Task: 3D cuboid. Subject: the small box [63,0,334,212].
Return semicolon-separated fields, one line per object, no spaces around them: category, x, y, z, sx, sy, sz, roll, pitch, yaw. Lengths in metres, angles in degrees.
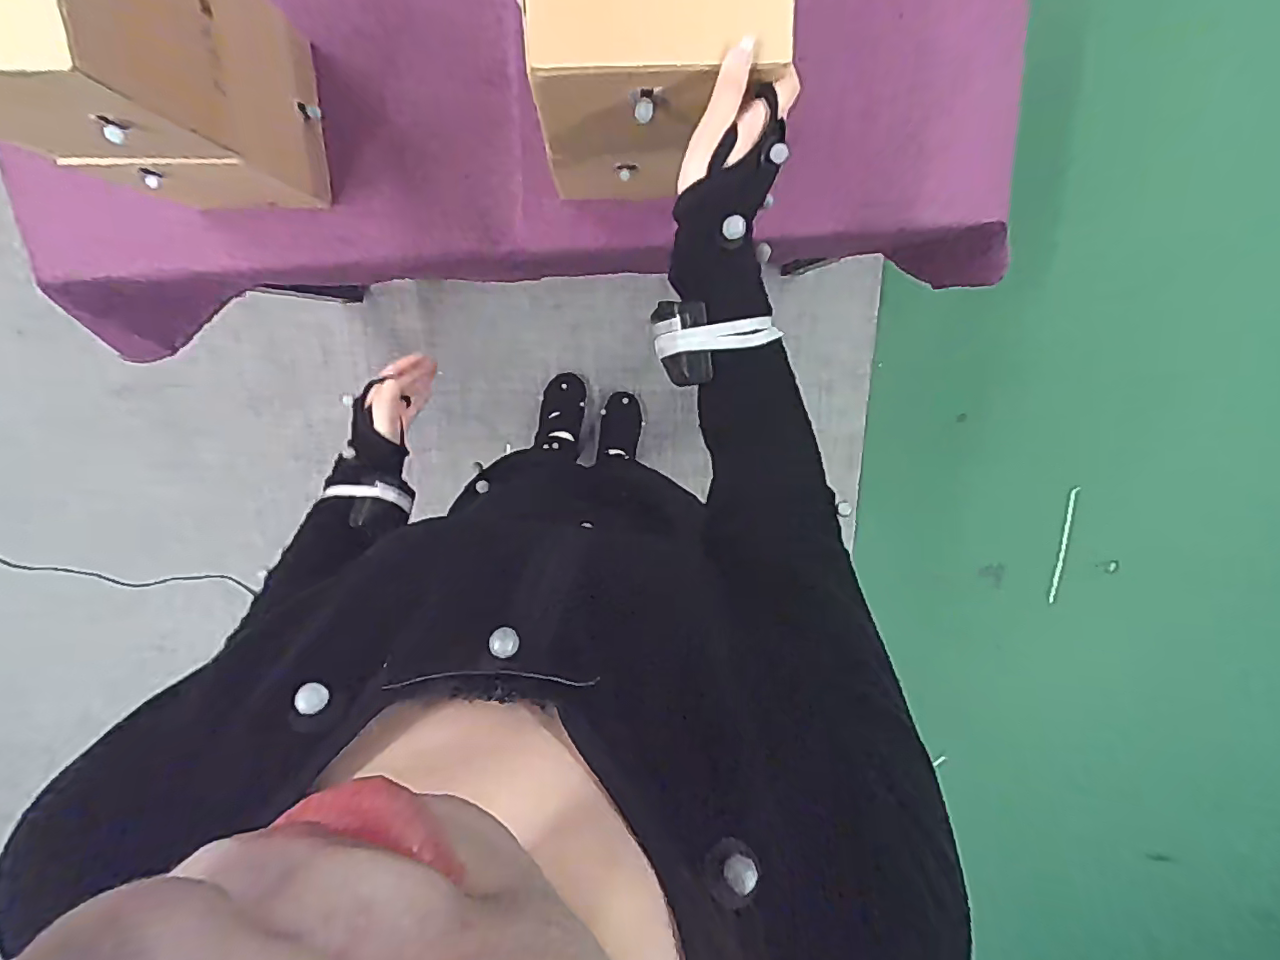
small box;-0.441;-0.389;0.549;0.168;0.176;0.179;-1;104;-2

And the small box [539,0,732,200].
small box;-0.006;-0.404;0.570;0.179;0.176;0.168;-2;105;-3

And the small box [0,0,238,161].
small box;-0.431;-0.348;0.390;0.179;0.176;0.168;0;104;-3
